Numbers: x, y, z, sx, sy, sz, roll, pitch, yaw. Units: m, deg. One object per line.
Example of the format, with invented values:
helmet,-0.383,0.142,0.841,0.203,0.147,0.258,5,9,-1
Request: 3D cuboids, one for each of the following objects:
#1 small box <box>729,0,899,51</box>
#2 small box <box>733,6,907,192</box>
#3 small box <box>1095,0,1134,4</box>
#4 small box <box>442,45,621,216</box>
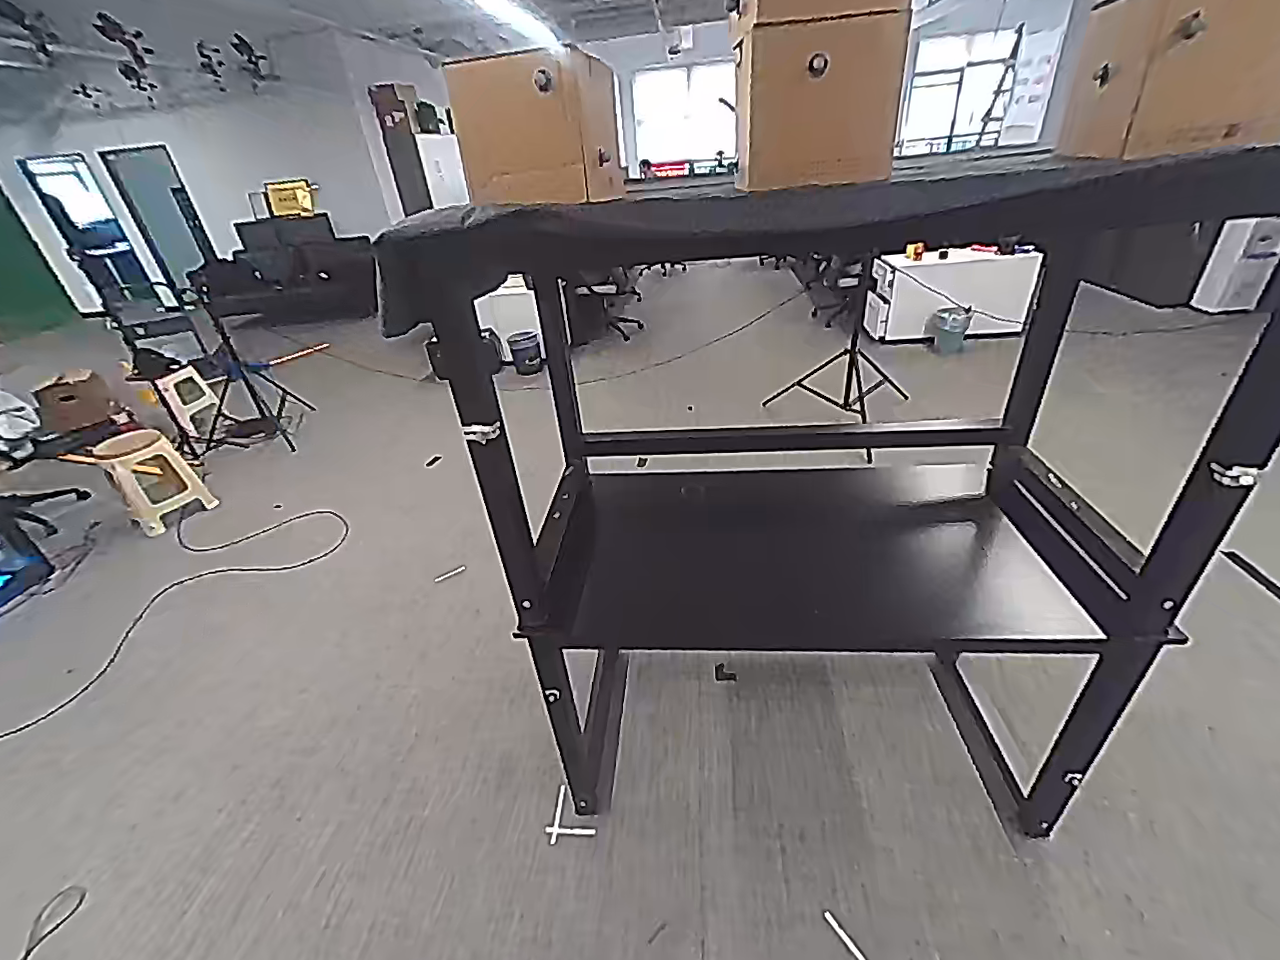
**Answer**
small box,0.202,-0.620,0.628,0.179,0.176,0.168,-7,29,0
small box,0.218,-0.476,0.702,0.179,0.176,0.168,-3,30,4
small box,0.630,-0.634,0.568,0.168,0.176,0.179,-1,31,11
small box,-0.135,-0.465,0.744,0.179,0.176,0.168,3,30,14
